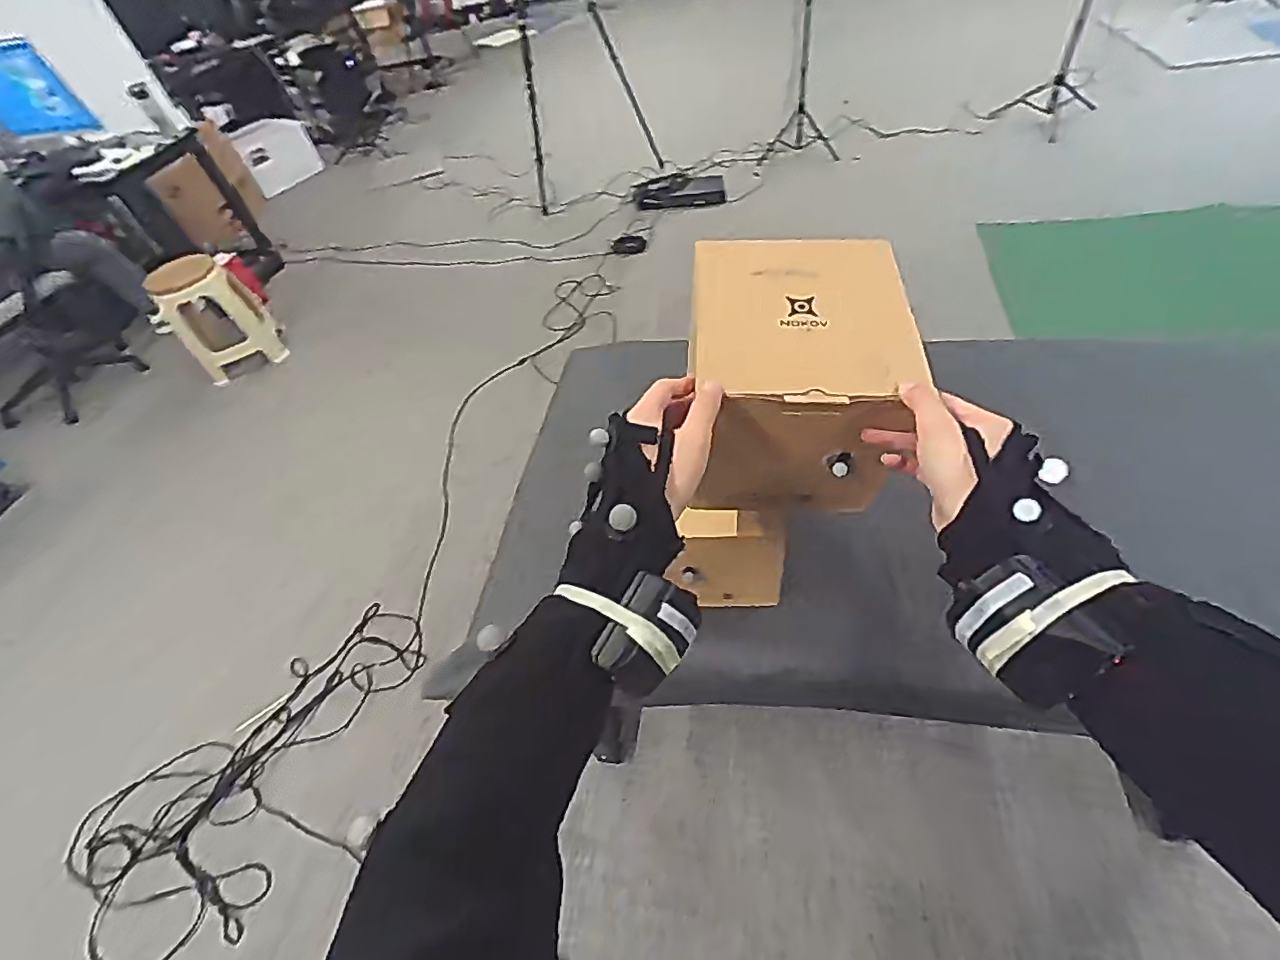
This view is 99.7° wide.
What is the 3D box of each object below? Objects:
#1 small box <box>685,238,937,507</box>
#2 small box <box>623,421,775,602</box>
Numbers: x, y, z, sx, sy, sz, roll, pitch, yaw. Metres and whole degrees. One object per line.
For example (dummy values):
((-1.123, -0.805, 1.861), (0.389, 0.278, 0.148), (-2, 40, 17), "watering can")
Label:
((0.128, -0.088, 0.481), (0.168, 0.176, 0.179), (1, 58, 2), "small box")
((0.079, 0.043, 0.683), (0.168, 0.176, 0.179), (-2, 50, 8), "small box")
